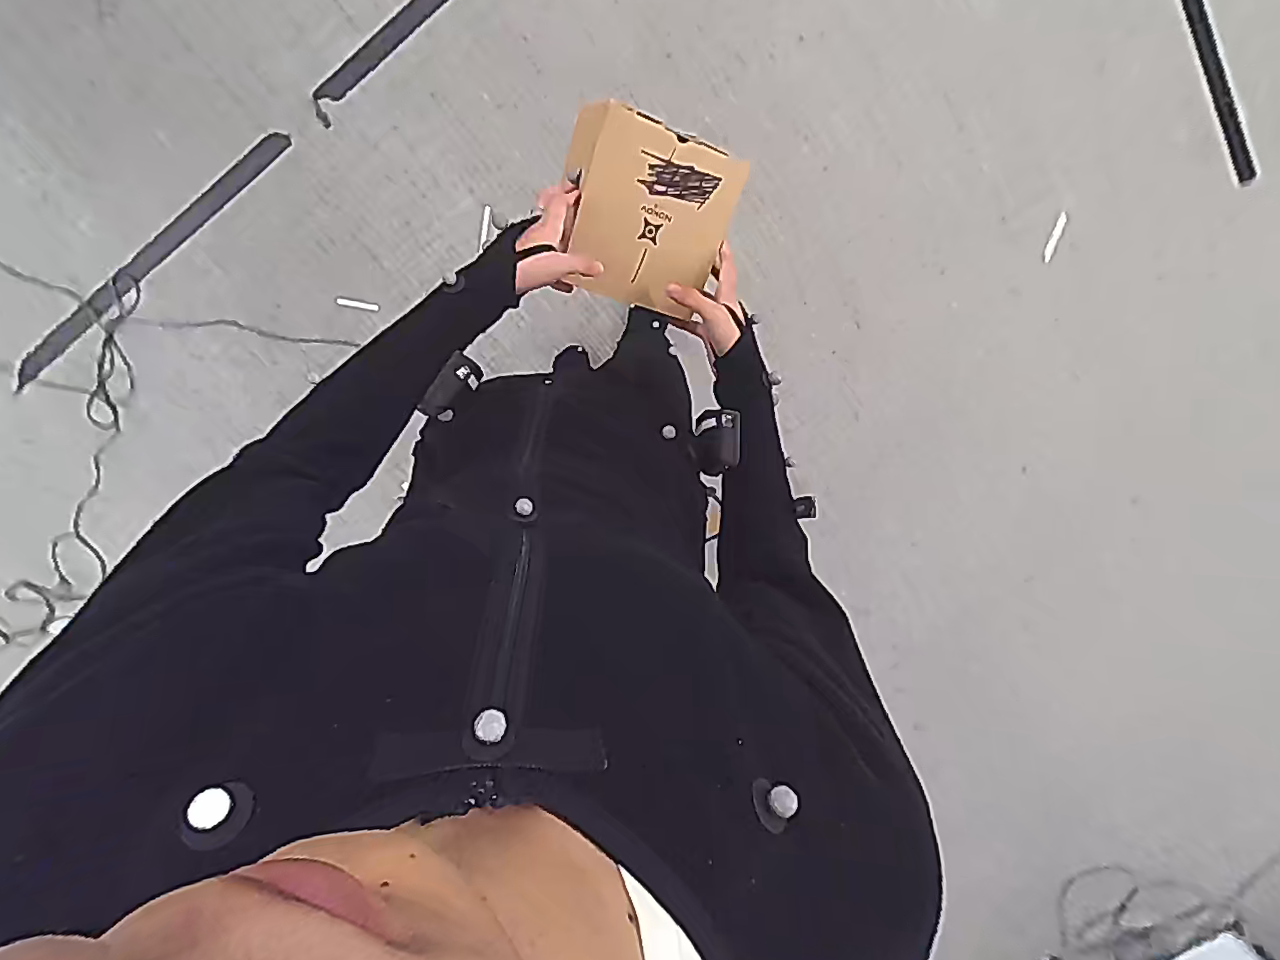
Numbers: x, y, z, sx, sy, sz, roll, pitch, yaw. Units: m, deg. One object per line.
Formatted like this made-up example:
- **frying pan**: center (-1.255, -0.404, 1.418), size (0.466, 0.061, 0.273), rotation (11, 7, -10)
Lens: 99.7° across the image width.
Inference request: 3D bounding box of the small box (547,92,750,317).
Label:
- **small box**: center (-0.006, -0.318, 0.633), size (0.168, 0.176, 0.179), rotation (10, 119, -22)
